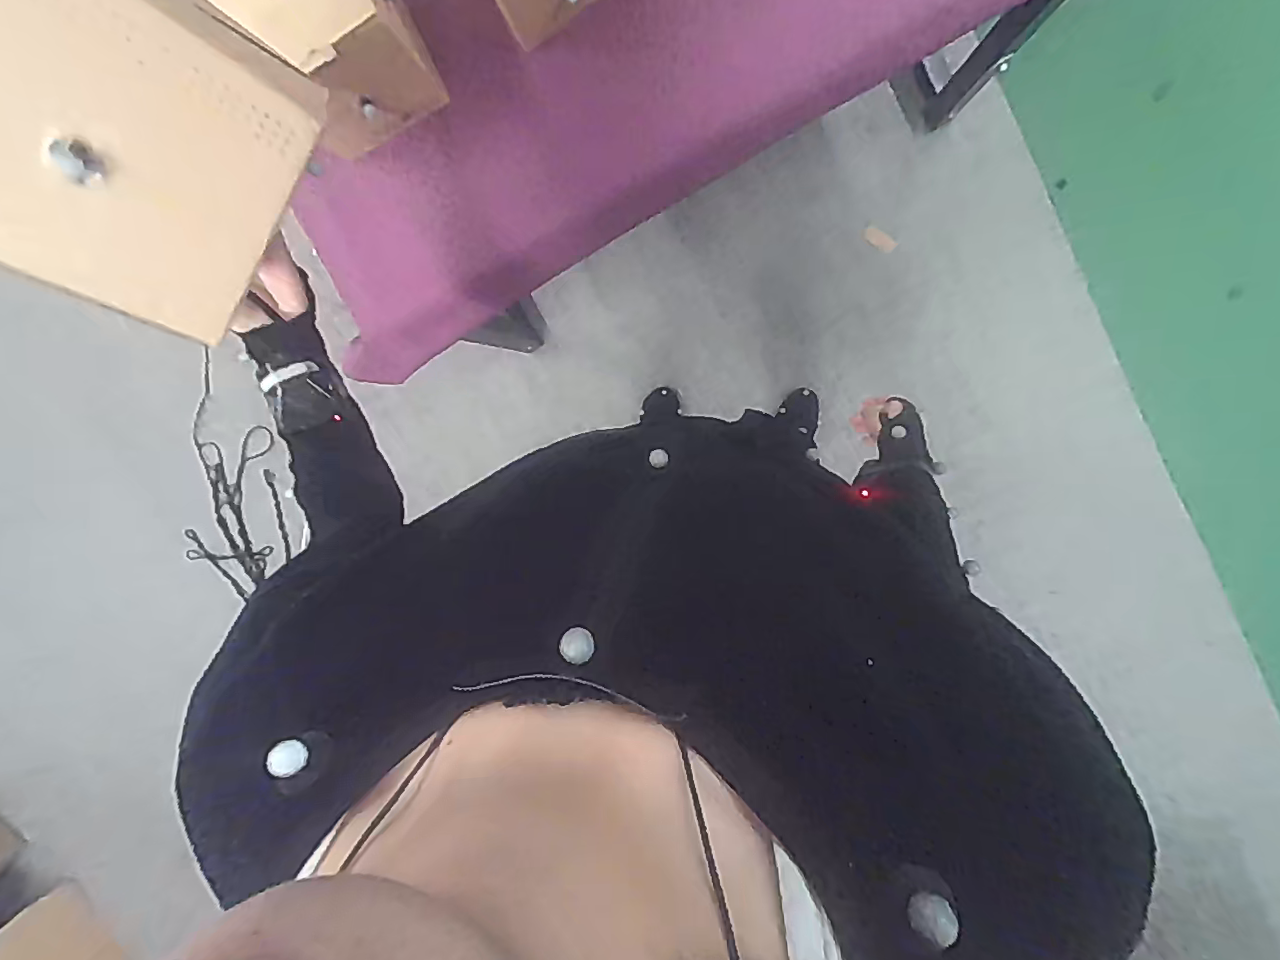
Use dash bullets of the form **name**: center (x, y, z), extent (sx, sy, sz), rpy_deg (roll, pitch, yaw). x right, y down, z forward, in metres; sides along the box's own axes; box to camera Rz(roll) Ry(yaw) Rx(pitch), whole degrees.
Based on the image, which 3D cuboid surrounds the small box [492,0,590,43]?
- **small box**: center (-0.131, -0.641, 0.581), extent (0.168, 0.176, 0.179), rpy_deg (-30, 96, 10)

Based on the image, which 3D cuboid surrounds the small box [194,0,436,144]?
- **small box**: center (-0.370, -0.525, 0.622), extent (0.168, 0.176, 0.179), rpy_deg (-25, 97, 9)
